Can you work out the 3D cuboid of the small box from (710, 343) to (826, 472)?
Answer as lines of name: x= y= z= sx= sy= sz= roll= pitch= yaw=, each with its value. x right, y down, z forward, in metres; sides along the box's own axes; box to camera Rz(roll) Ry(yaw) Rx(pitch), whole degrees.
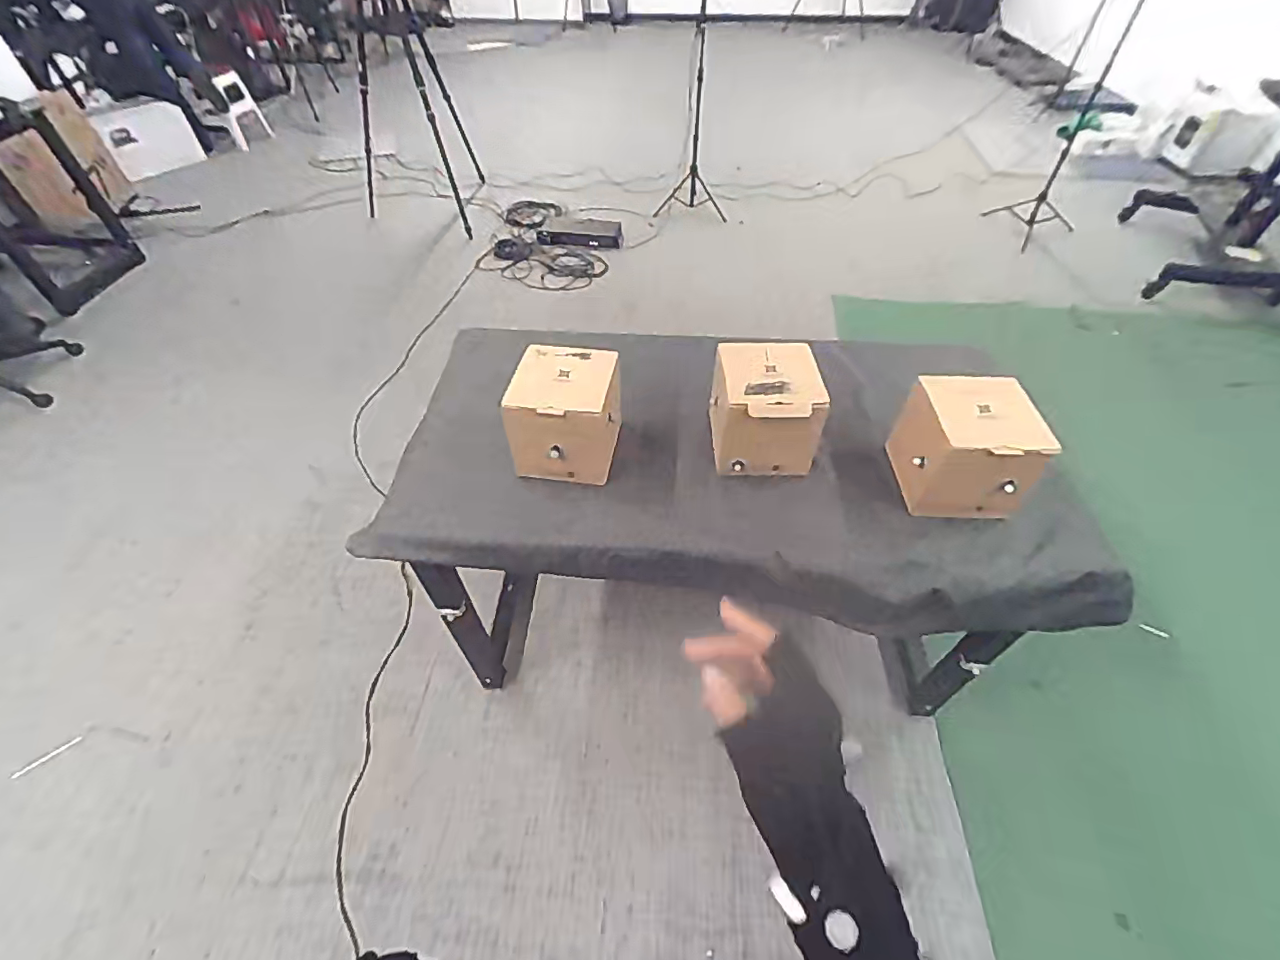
small box: x=0.220 y=-0.129 z=0.980 sx=0.168 sy=0.176 sz=0.179 roll=0 pitch=47 yaw=0

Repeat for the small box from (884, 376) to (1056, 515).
small box: x=0.540 y=-0.056 z=0.915 sx=0.168 sy=0.176 sz=0.179 roll=2 pitch=47 yaw=1

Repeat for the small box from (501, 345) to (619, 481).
small box: x=-0.131 y=-0.117 z=0.970 sx=0.168 sy=0.176 sz=0.179 roll=6 pitch=49 yaw=5
